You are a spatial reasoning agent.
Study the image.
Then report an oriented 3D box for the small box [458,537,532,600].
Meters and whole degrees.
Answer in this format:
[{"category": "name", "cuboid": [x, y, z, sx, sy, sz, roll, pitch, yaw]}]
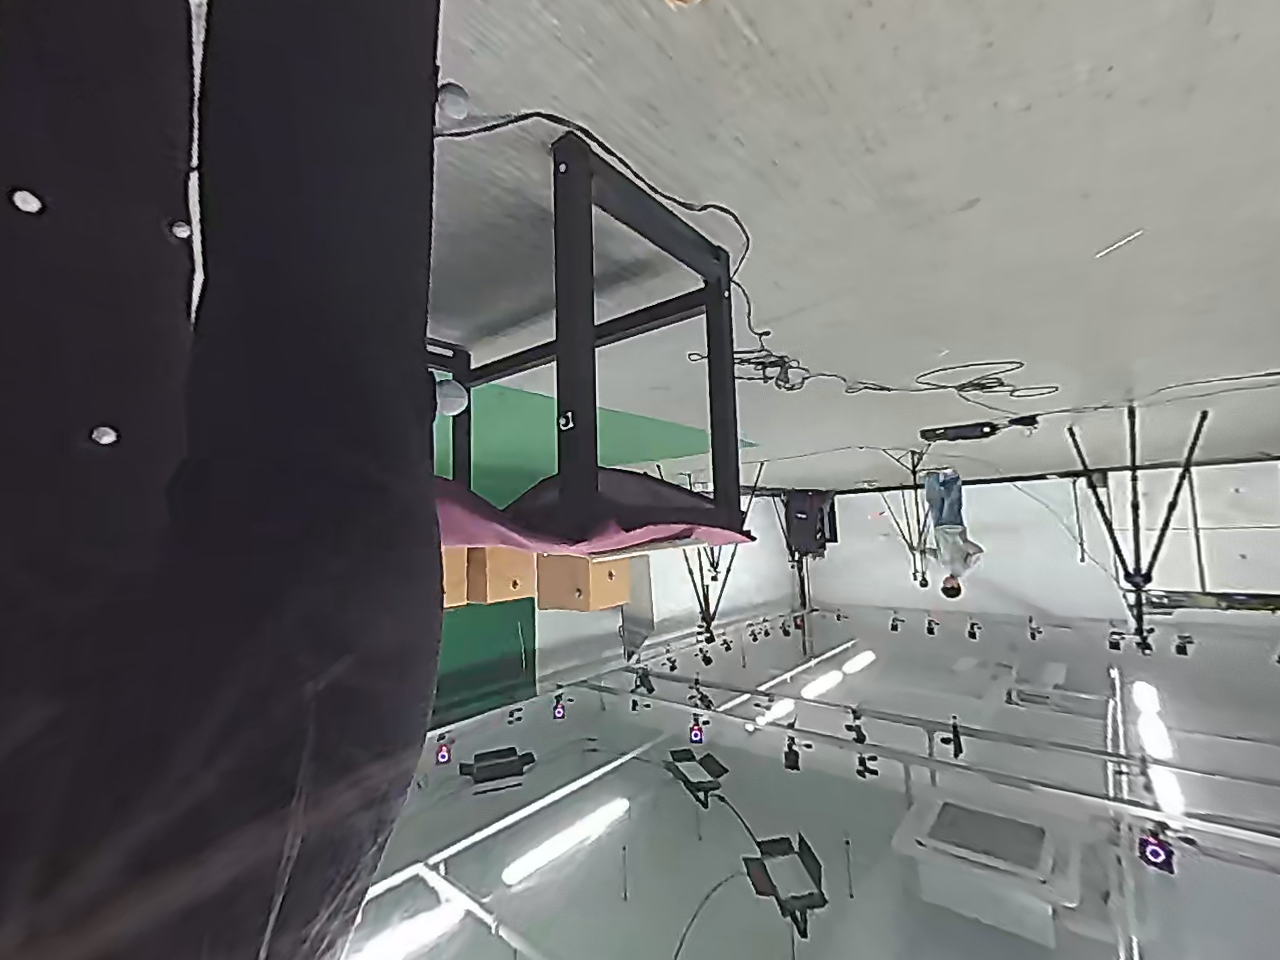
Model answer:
[{"category": "small box", "cuboid": [-0.439, 0.256, 1.604, 0.168, 0.176, 0.179, -6, 173, 37]}]
